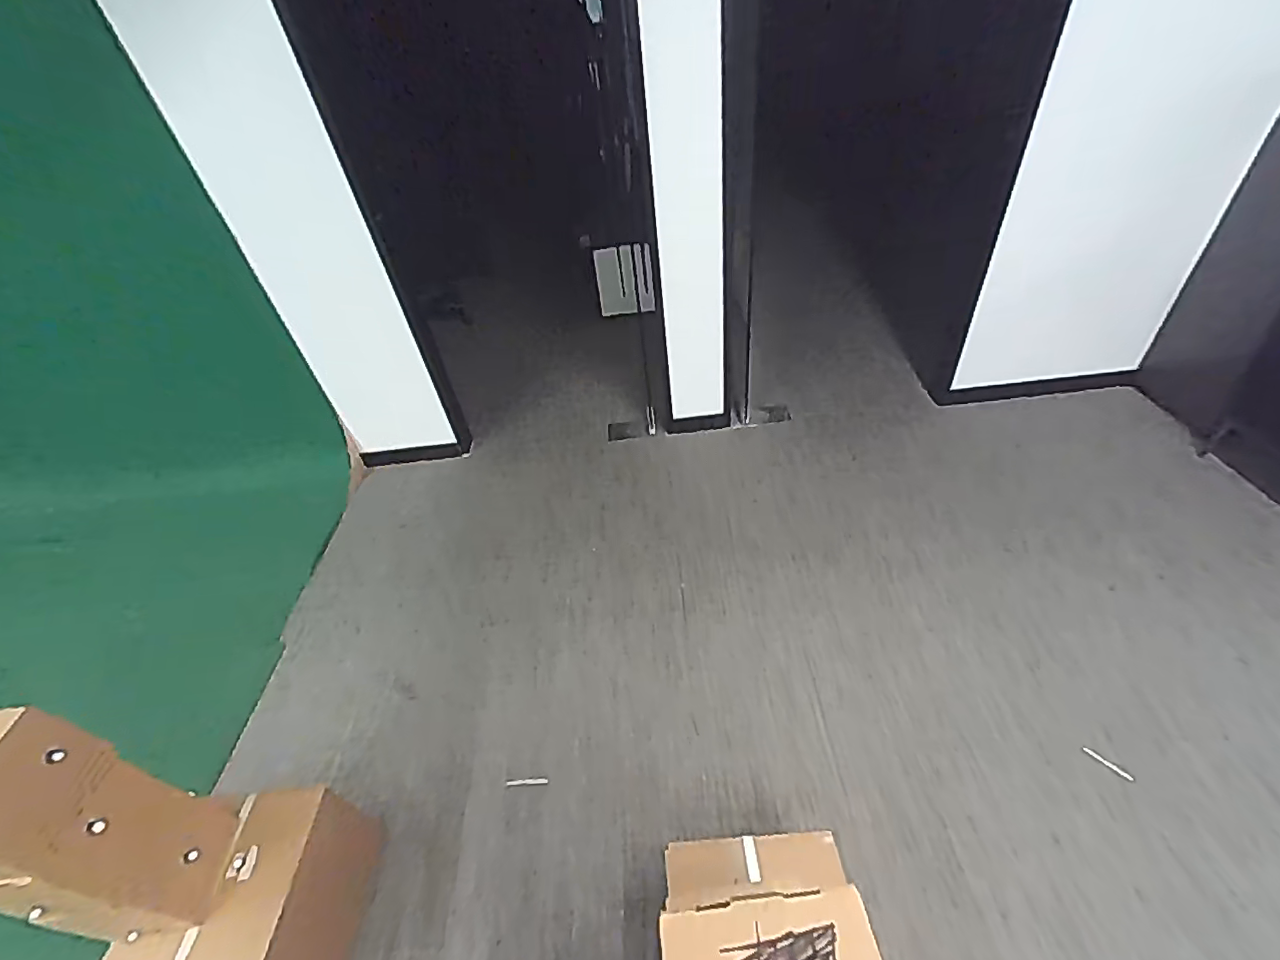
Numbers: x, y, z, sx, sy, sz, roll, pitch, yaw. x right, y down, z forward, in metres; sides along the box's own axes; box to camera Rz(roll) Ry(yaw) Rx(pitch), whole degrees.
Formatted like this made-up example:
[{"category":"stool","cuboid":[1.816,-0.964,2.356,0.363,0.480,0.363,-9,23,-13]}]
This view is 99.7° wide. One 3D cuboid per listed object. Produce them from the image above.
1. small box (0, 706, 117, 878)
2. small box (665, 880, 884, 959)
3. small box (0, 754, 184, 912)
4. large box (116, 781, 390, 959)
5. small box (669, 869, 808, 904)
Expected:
[{"category":"small box","cuboid":[-0.941,0.459,0.792,0.168,0.176,0.179,-9,43,6]},{"category":"small box","cuboid":[0.115,0.453,0.435,0.168,0.176,0.179,-9,44,2]},{"category":"small box","cuboid":[-0.919,0.584,0.895,0.168,0.176,0.179,-10,42,4]},{"category":"large box","cuboid":[-0.781,0.912,1.118,0.320,0.320,0.408,-7,41,3]},{"category":"small box","cuboid":[0.140,0.615,0.674,0.179,0.176,0.168,-11,41,1]}]
